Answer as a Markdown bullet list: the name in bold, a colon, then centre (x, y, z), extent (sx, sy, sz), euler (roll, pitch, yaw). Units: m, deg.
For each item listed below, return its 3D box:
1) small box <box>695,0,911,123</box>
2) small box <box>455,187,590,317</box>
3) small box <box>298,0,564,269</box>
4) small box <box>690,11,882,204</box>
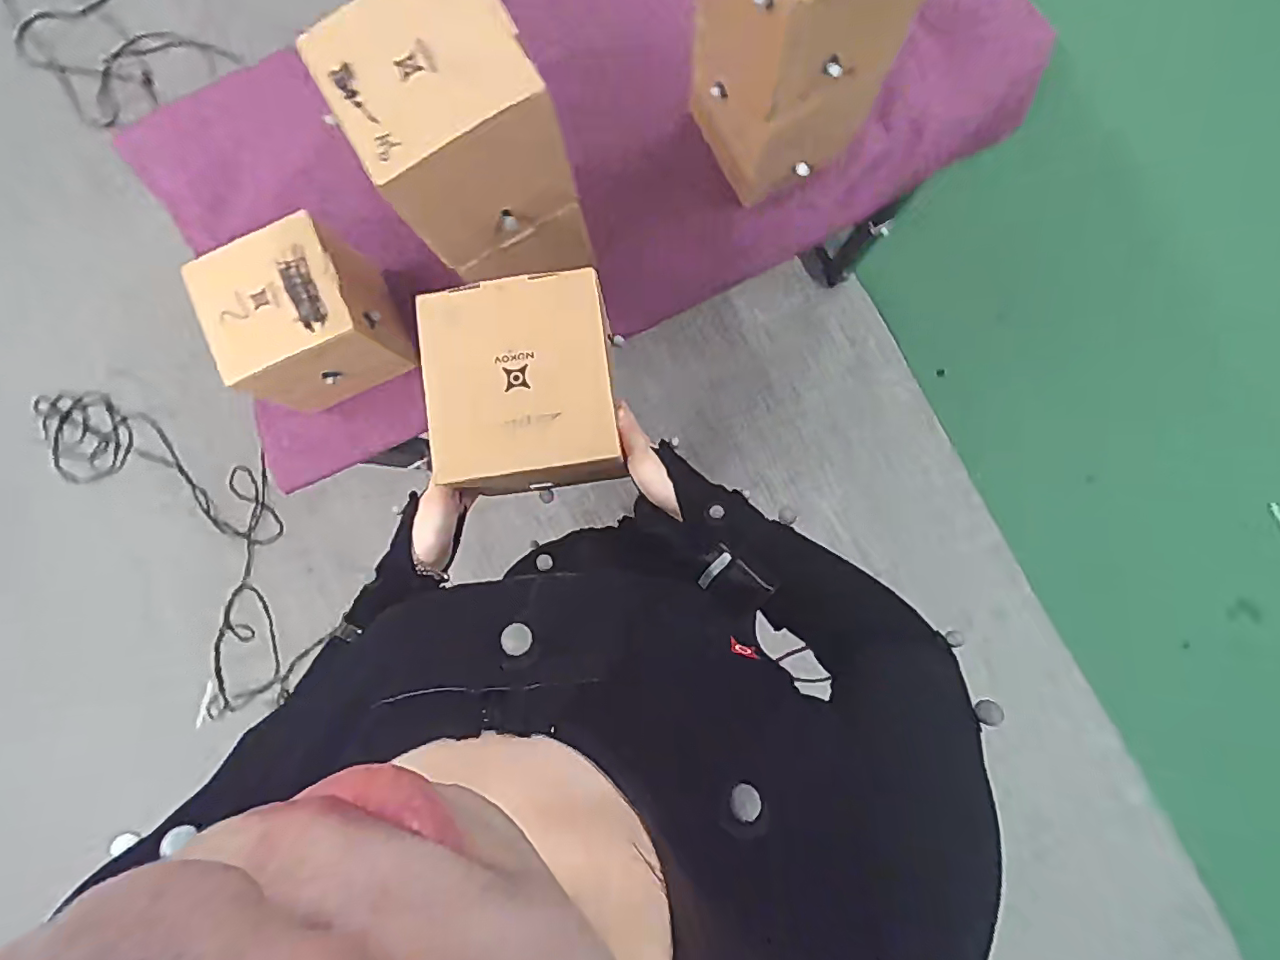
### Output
- **small box**: centre (0.167, -0.527, 0.556), extent (0.168, 0.176, 0.179), euler (-29, 87, 1)
- **small box**: centre (-0.185, -0.352, 0.724), extent (0.168, 0.176, 0.179), euler (-30, 86, 1)
- **small box**: centre (-0.192, -0.359, 0.560), extent (0.179, 0.176, 0.168), euler (-30, 85, 0)
- **small box**: centre (0.176, -0.514, 0.718), extent (0.168, 0.176, 0.179), euler (-28, 87, 1)
